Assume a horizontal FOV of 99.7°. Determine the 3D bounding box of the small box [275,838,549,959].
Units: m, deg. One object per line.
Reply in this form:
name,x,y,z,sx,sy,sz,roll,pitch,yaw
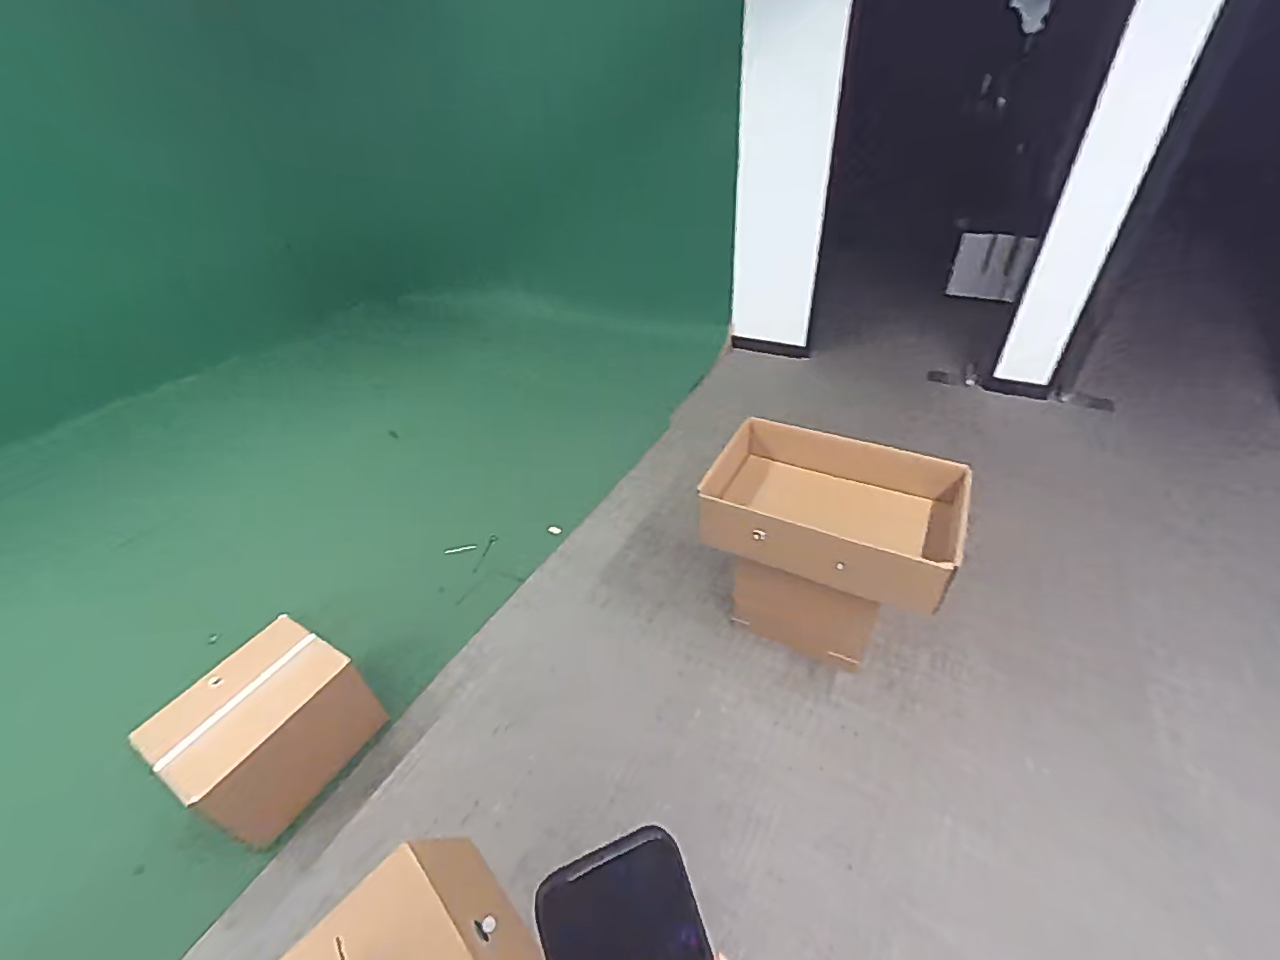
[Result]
small box,-0.206,0.468,0.504,0.168,0.176,0.179,-40,61,-18
